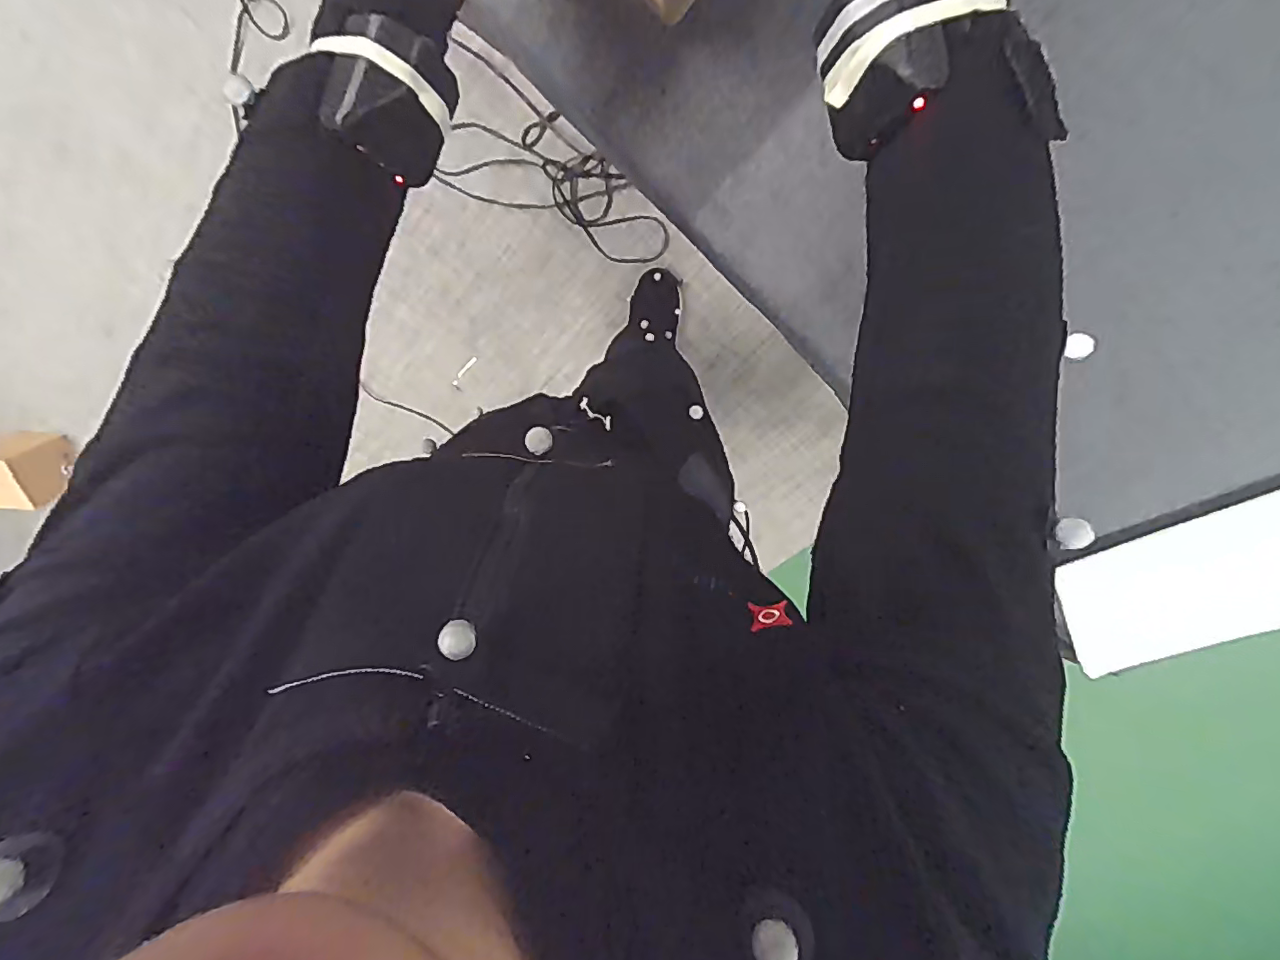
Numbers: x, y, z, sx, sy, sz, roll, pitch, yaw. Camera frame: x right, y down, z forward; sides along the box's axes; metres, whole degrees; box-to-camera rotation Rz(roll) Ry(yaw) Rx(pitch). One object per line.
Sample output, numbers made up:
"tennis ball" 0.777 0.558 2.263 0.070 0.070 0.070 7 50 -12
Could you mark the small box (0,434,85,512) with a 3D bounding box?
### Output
"small box" -1.786 -0.025 1.555 0.179 0.176 0.168 2 120 5
